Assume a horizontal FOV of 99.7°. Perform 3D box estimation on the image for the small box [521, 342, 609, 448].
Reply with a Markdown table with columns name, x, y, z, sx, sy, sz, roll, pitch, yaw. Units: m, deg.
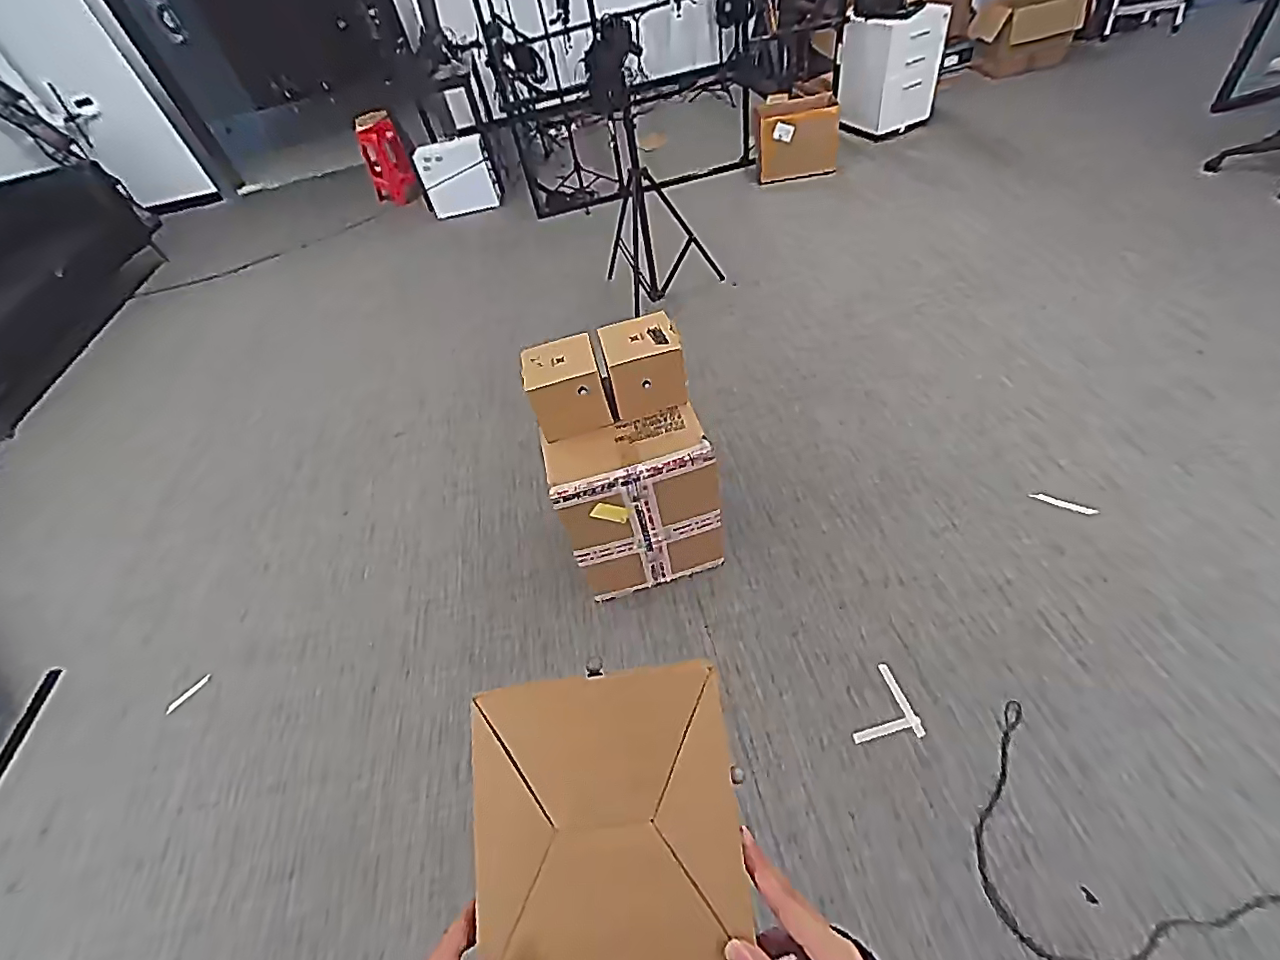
| name | x | y | z | sx | sy | sz | roll | pitch | yaw |
| --- | --- | --- | --- | --- | --- | --- | --- | --- | --- |
| small box | -0.180 | -0.207 | 1.338 | 0.179 | 0.176 | 0.168 | -17 | 47 | 1 |

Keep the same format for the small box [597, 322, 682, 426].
| name | x | y | z | sx | sy | sz | roll | pitch | yaw |
| --- | --- | --- | --- | --- | --- | --- | --- | --- | --- |
| small box | 0.002 | -0.261 | 1.347 | 0.179 | 0.176 | 0.168 | -15 | 48 | -2 |
